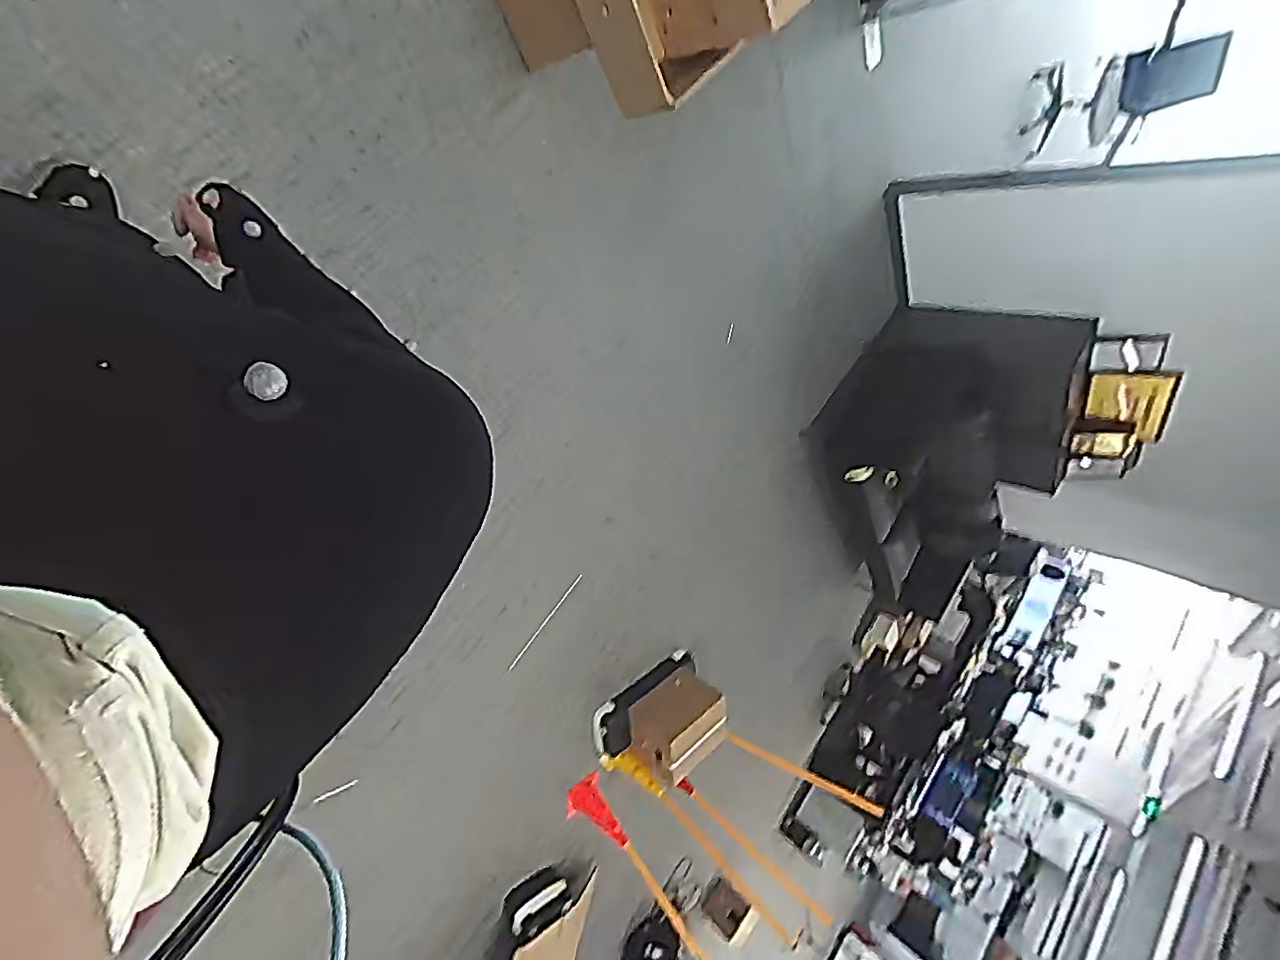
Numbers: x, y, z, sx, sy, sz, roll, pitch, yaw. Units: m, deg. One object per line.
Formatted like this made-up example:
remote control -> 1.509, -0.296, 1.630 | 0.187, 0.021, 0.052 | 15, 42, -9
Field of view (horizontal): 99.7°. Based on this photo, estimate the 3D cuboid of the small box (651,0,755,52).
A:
small box -> 0.149, -1.195, 1.325 | 0.179, 0.176, 0.168 | -50, 136, -16
